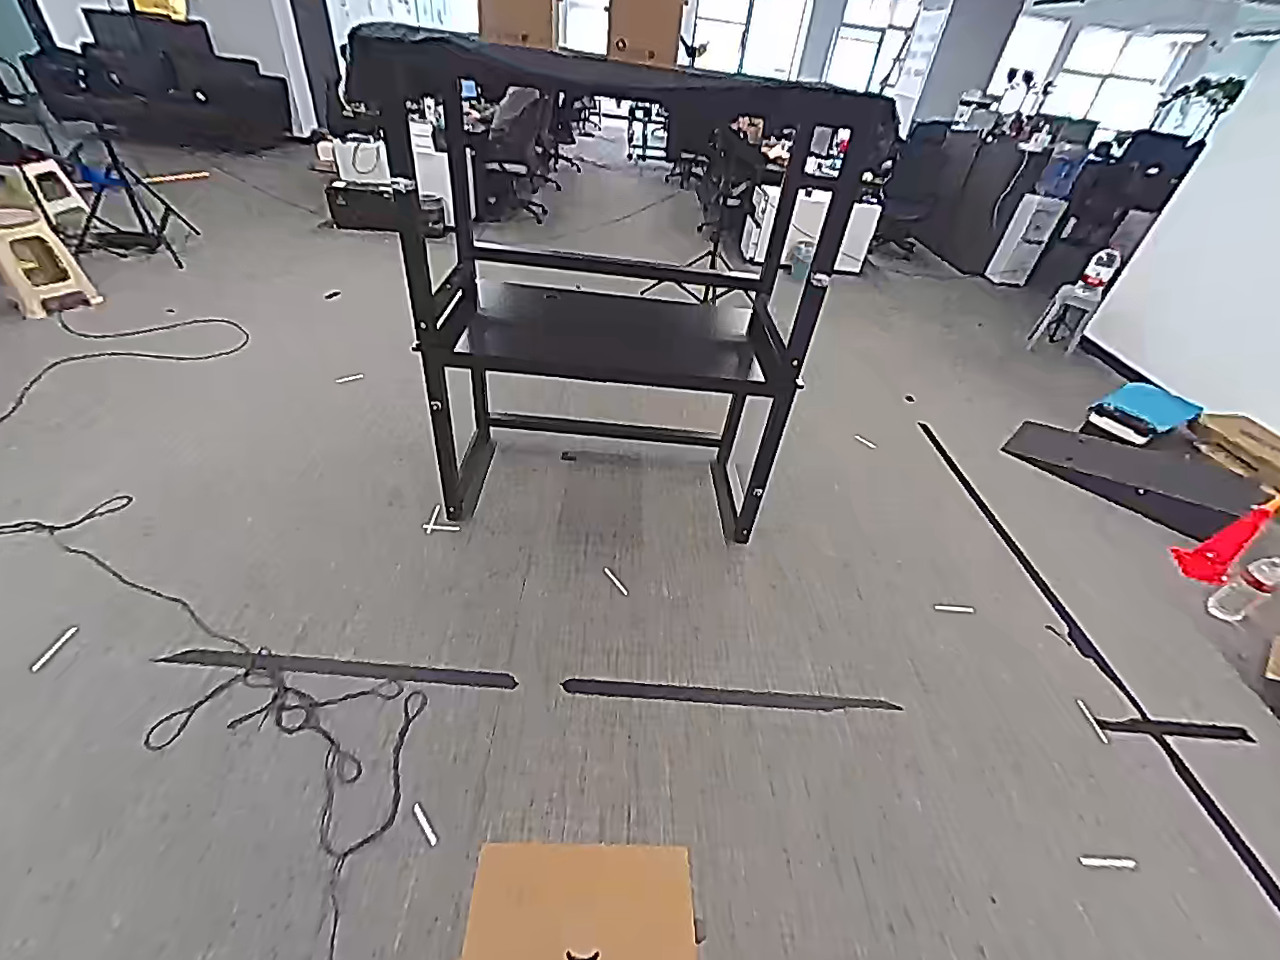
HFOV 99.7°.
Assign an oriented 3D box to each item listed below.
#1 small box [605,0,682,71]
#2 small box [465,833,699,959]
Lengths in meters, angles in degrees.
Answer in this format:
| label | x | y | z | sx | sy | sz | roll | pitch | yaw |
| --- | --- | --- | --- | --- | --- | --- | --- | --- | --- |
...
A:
| label | x | y | z | sx | sy | sz | roll | pitch | yaw |
| --- | --- | --- | --- | --- | --- | --- | --- | --- | --- |
| small box | 0.008 | -1.062 | 1.255 | 0.168 | 0.176 | 0.179 | 5 | 37 | -4 |
| small box | -0.048 | 0.402 | 0.411 | 0.168 | 0.176 | 0.179 | 4 | 36 | -5 |
